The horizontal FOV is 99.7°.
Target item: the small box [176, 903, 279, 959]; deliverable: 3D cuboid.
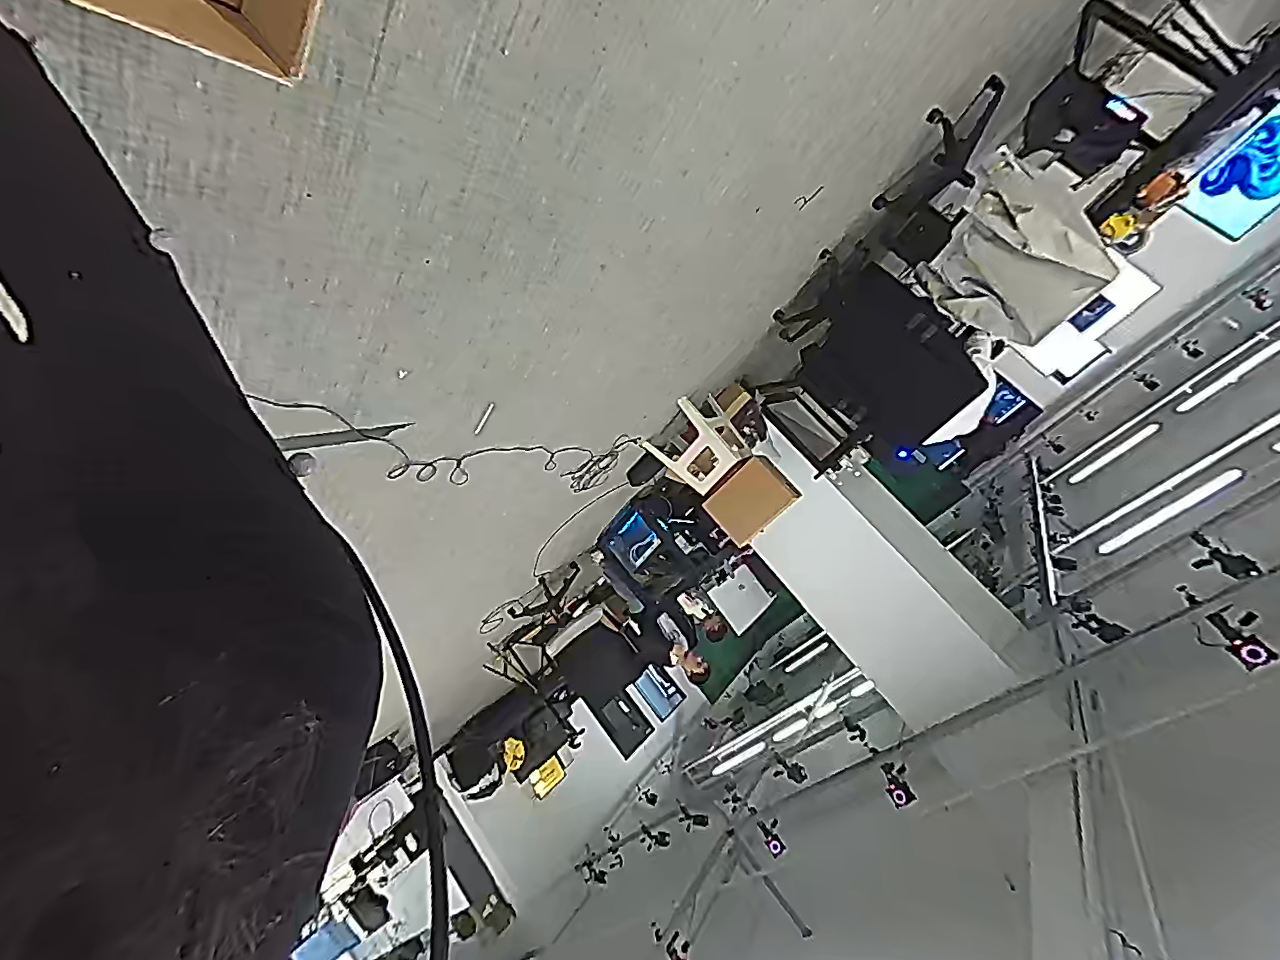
[{"bbox_3d":[-1.080,1.256,1.410,0.168,0.176,0.179,-22,156,-51],"label":"small box"}]
